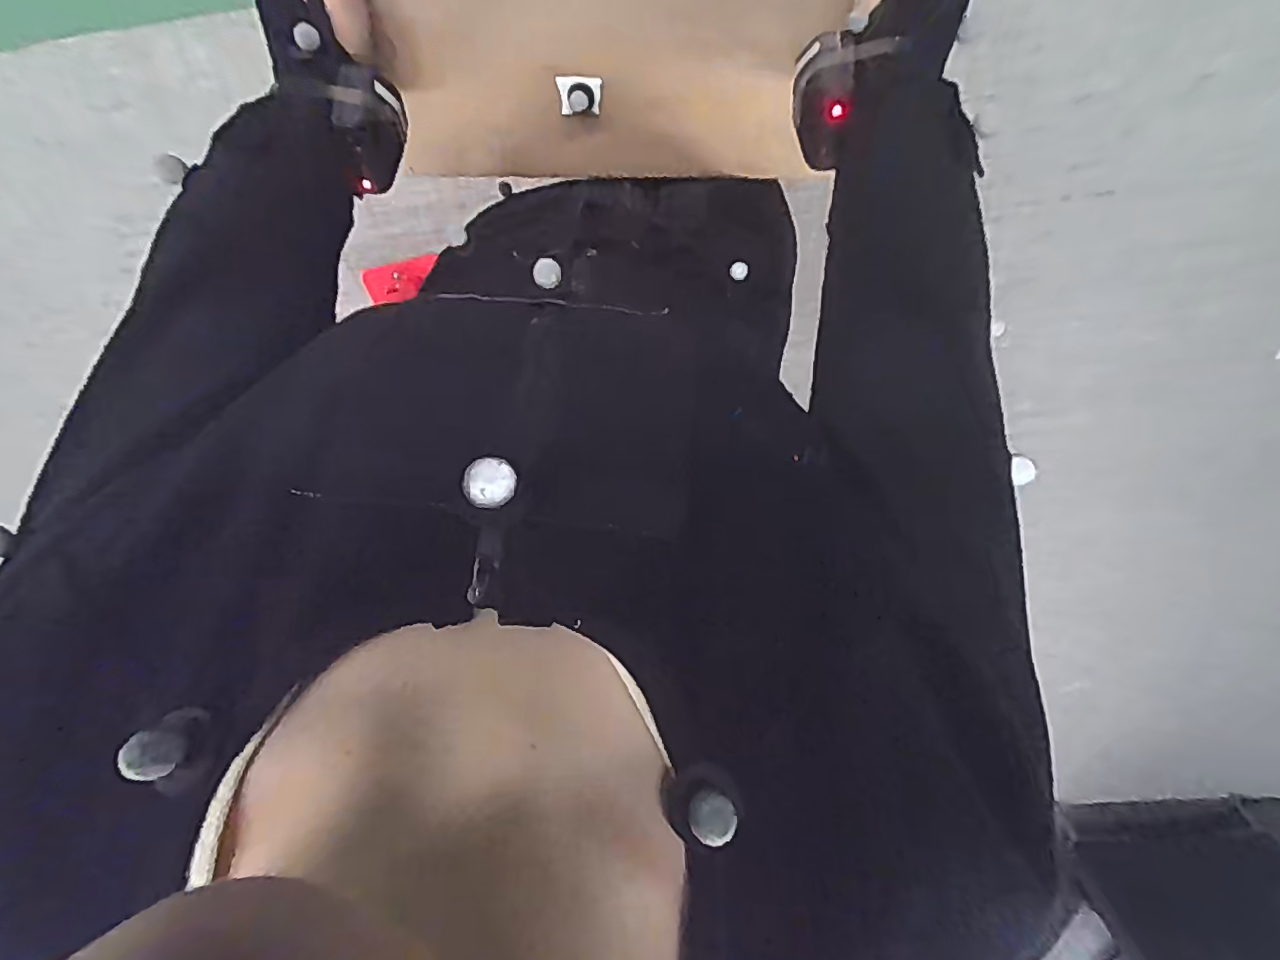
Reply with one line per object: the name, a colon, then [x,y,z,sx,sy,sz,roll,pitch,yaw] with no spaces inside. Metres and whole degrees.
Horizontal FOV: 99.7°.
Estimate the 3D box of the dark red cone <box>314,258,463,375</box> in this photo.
dark red cone: [-0.526,-0.298,1.083,0.202,0.394,0.201,-11,121,9]
